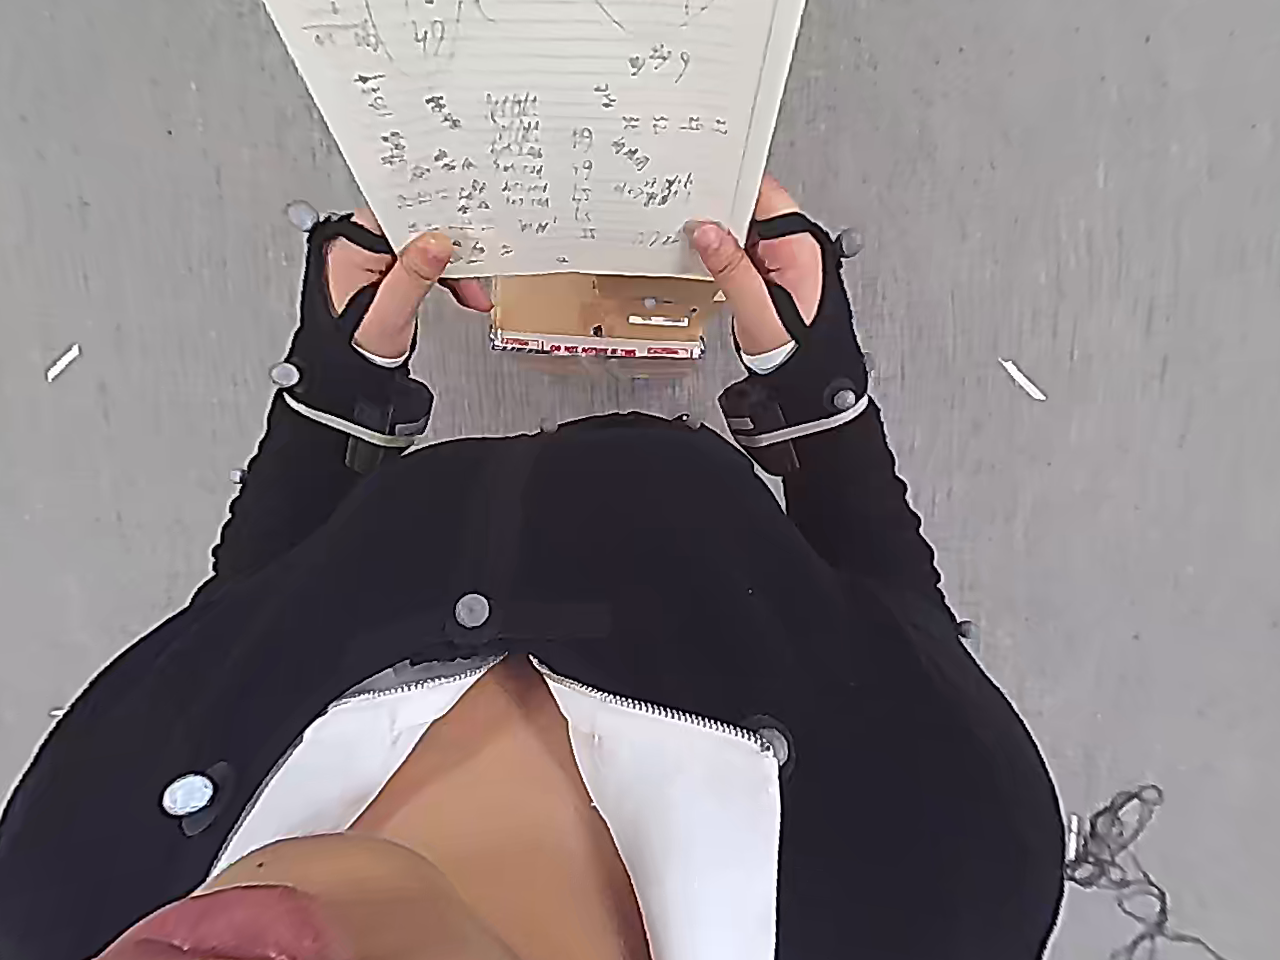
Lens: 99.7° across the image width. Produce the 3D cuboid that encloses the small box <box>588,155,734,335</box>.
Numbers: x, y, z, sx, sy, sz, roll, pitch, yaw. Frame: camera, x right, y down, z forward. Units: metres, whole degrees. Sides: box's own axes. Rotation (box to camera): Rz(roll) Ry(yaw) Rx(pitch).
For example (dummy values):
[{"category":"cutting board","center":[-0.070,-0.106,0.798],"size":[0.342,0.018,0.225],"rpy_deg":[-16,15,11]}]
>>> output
[{"category":"small box","center":[0.022,-0.305,0.737],"size":[0.168,0.176,0.179],"rpy_deg":[5,98,-2]}]

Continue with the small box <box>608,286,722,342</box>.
[{"category":"small box","center":[0.037,-0.327,0.900],"size":[0.179,0.176,0.168],"rpy_deg":[1,97,-1]}]
